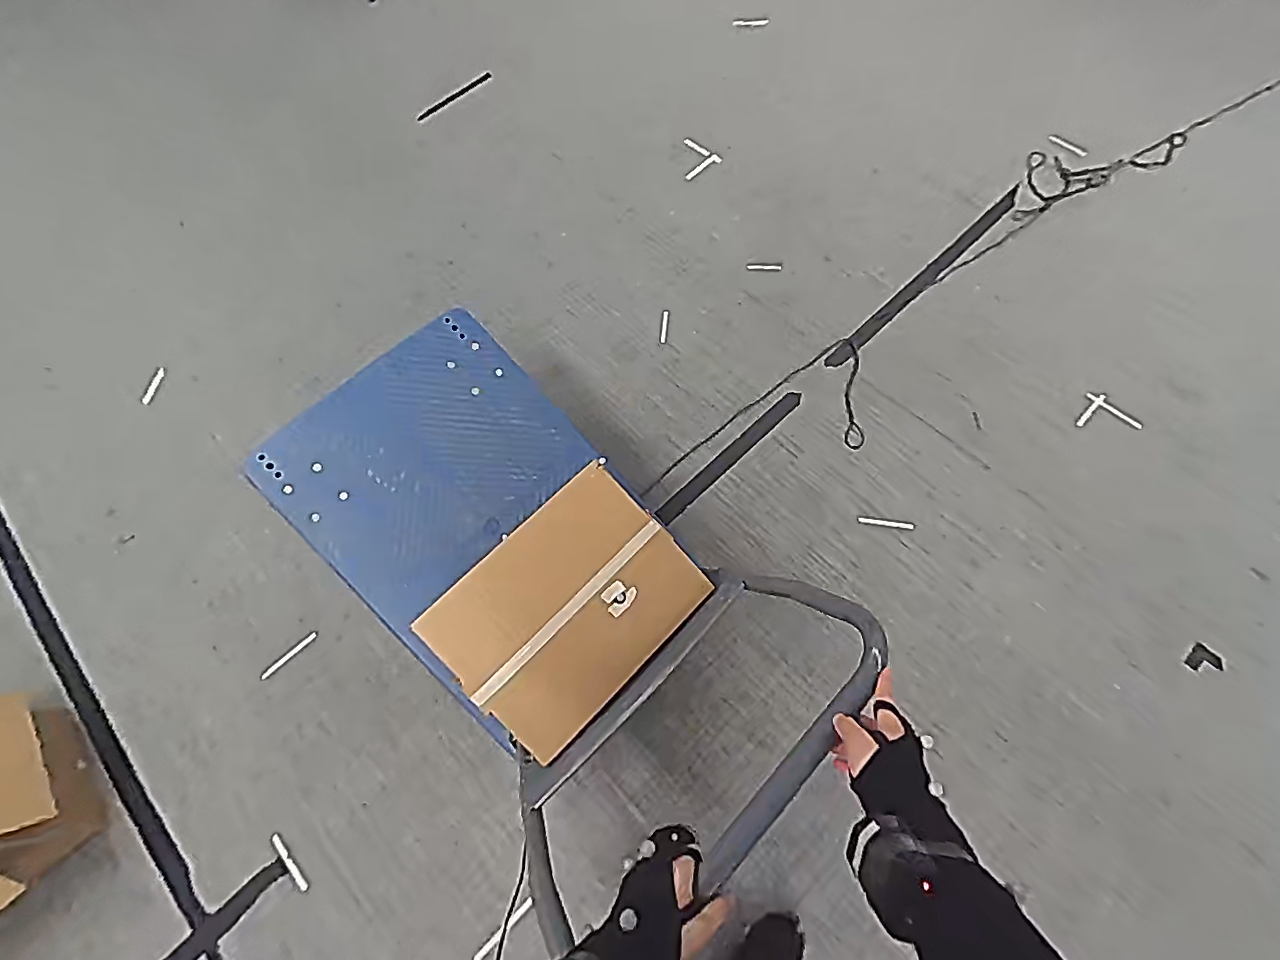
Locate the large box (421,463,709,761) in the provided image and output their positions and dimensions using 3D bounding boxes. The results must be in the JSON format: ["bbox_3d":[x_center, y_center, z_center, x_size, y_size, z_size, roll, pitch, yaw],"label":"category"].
[{"bbox_3d":[-0.144,0.237,1.054,0.408,0.320,0.320,-44,93,-16],"label":"large box"}]
